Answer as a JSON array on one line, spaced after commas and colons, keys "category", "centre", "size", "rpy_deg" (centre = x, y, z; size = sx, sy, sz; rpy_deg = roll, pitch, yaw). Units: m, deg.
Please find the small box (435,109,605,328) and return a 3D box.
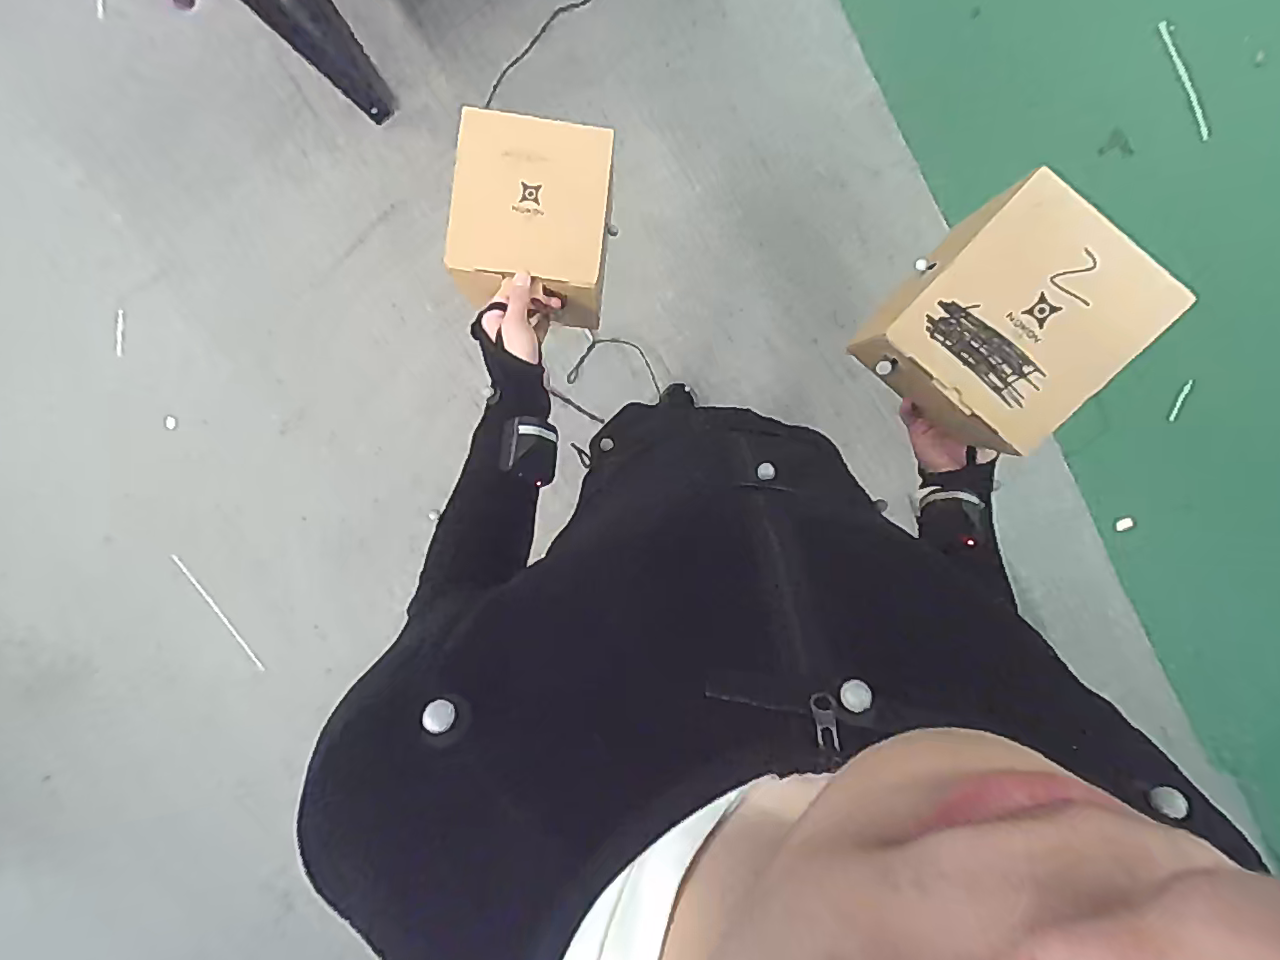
[{"category": "small box", "centre": [-0.133, -0.299, 0.658], "size": [0.168, 0.176, 0.179], "rpy_deg": [7, 88, -4]}]
